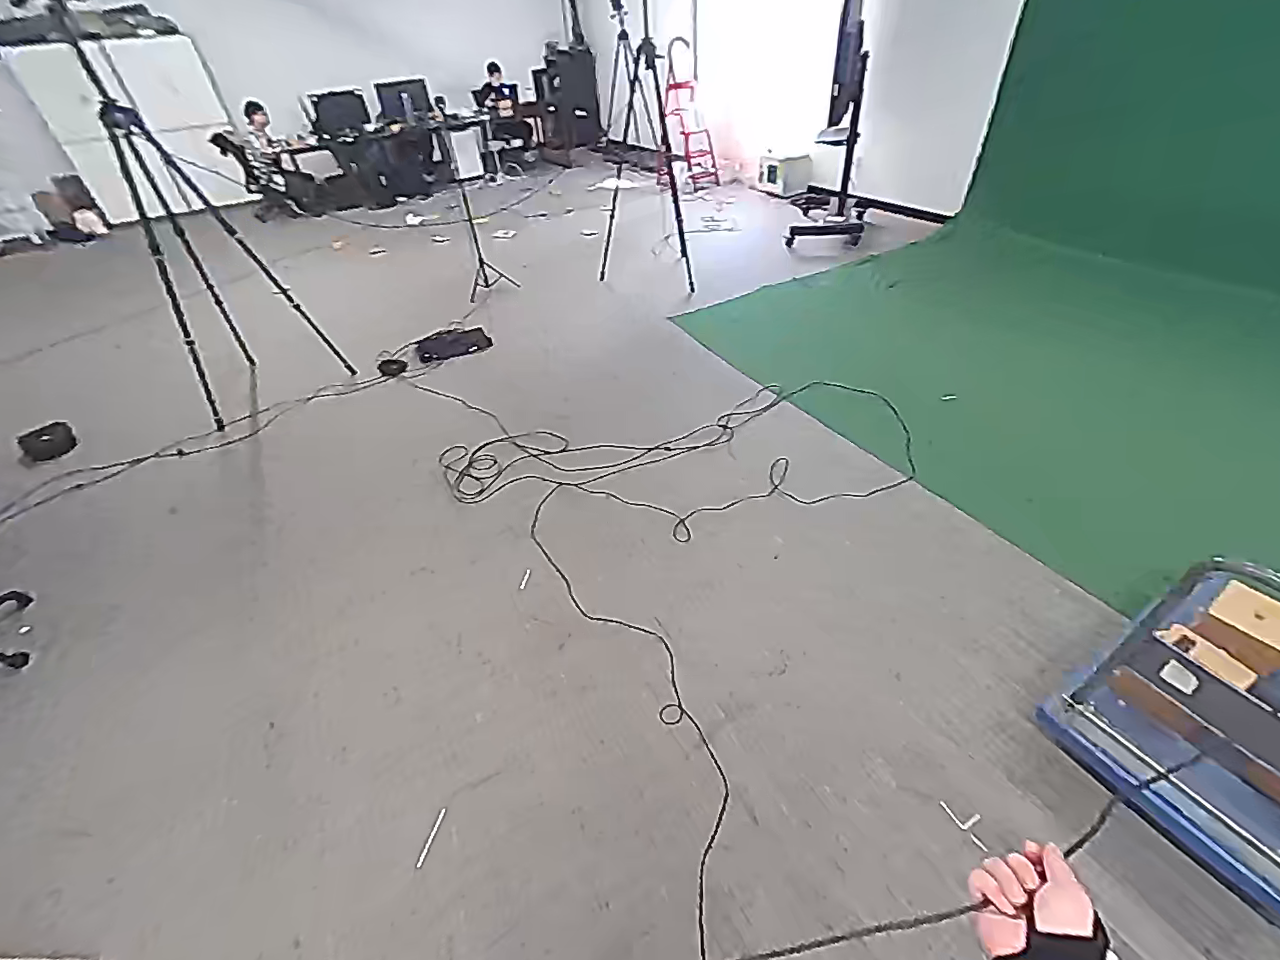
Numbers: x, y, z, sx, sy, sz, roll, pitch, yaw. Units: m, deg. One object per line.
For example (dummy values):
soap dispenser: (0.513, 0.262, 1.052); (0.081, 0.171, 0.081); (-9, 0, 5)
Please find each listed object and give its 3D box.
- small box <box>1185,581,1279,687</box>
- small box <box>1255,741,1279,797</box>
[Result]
small box: (1.623, 0.413, 1.444); (0.179, 0.176, 0.168); (-27, 45, -23)
small box: (1.536, 0.644, 1.187); (0.179, 0.176, 0.168); (-24, 44, -19)
